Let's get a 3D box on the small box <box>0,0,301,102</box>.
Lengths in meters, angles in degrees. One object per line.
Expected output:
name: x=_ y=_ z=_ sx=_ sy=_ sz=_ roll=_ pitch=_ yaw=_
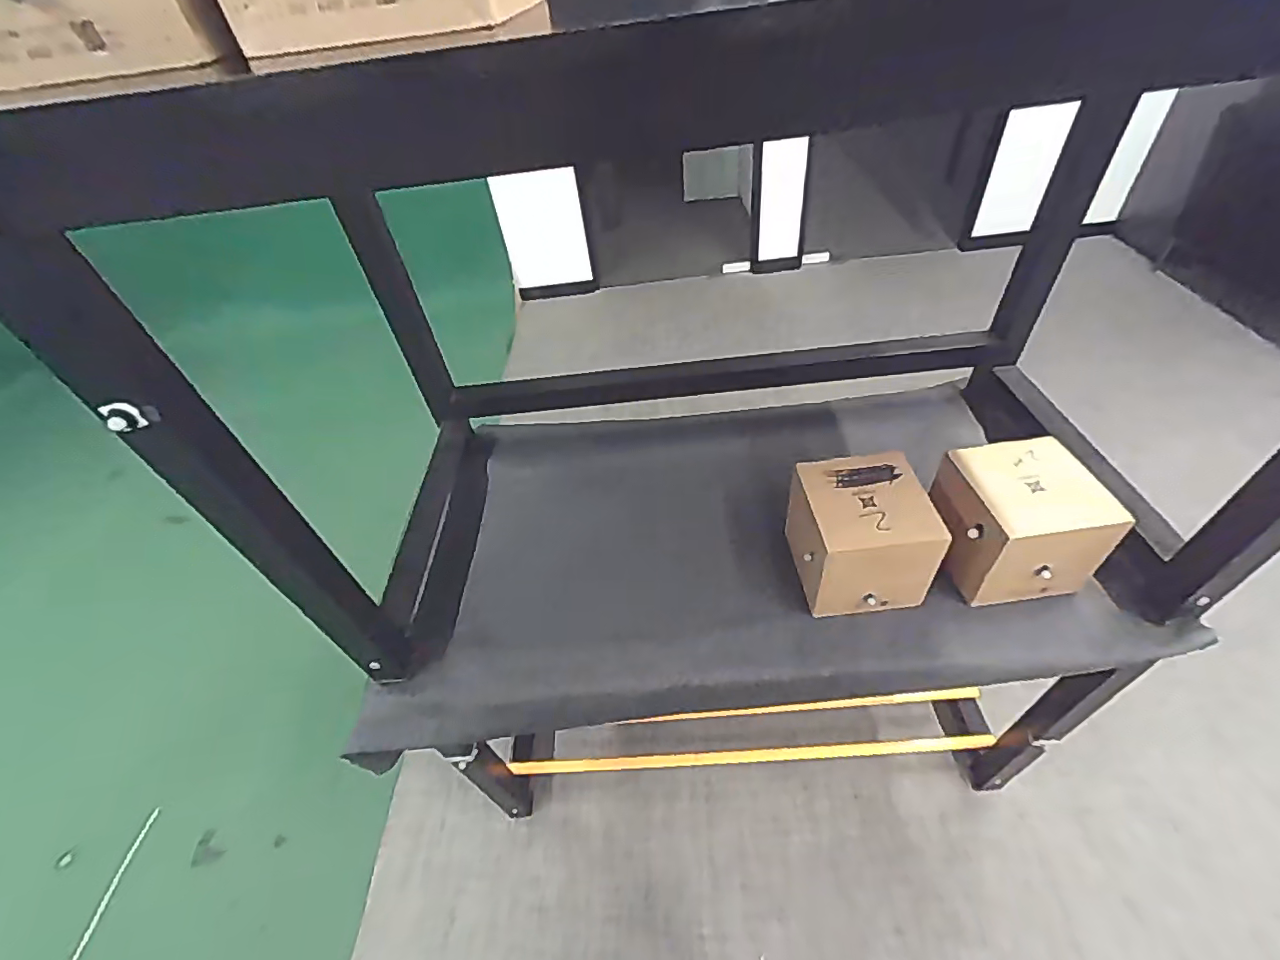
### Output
small box: x=-0.359 y=-0.361 z=0.345 sx=0.168 sy=0.176 sz=0.179 roll=-6 pitch=46 yaw=2

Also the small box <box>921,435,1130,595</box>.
small box: x=0.560 y=0.060 z=0.818 sx=0.168 sy=0.176 sz=0.179 roll=-8 pitch=44 yaw=0
